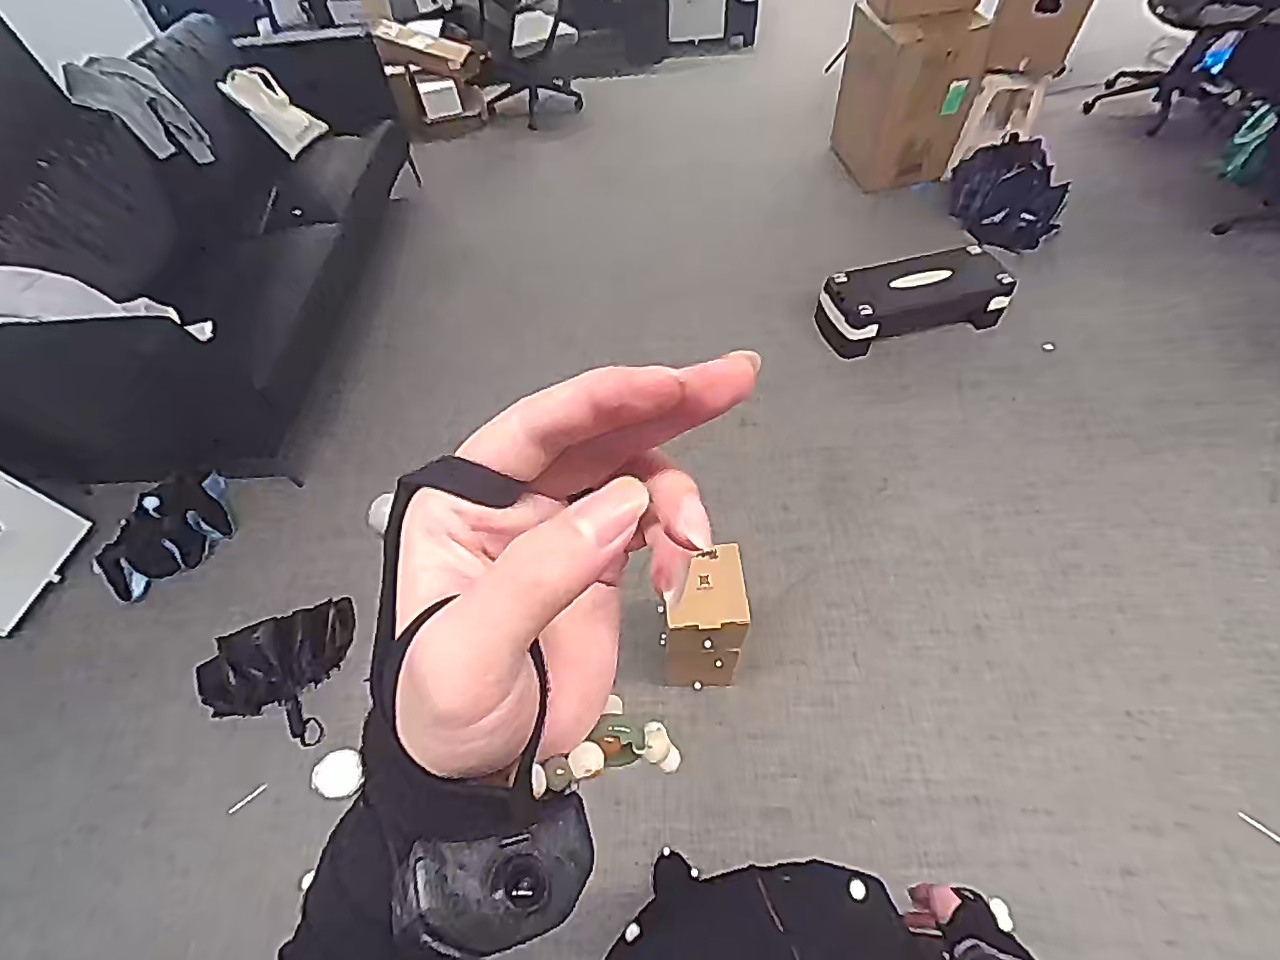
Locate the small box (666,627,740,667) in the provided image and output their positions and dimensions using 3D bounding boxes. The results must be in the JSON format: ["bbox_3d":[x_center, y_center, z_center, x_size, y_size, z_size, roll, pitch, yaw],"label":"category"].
[{"bbox_3d":[0.146,0.344,1.300,0.168,0.176,0.179,-3,55,2],"label":"small box"}]

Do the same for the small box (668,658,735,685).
[{"bbox_3d":[0.157,0.434,1.434,0.168,0.176,0.179,-3,56,3],"label":"small box"}]

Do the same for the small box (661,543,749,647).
[{"bbox_3d":[0.136,0.254,1.164,0.168,0.176,0.179,-5,57,1],"label":"small box"}]
